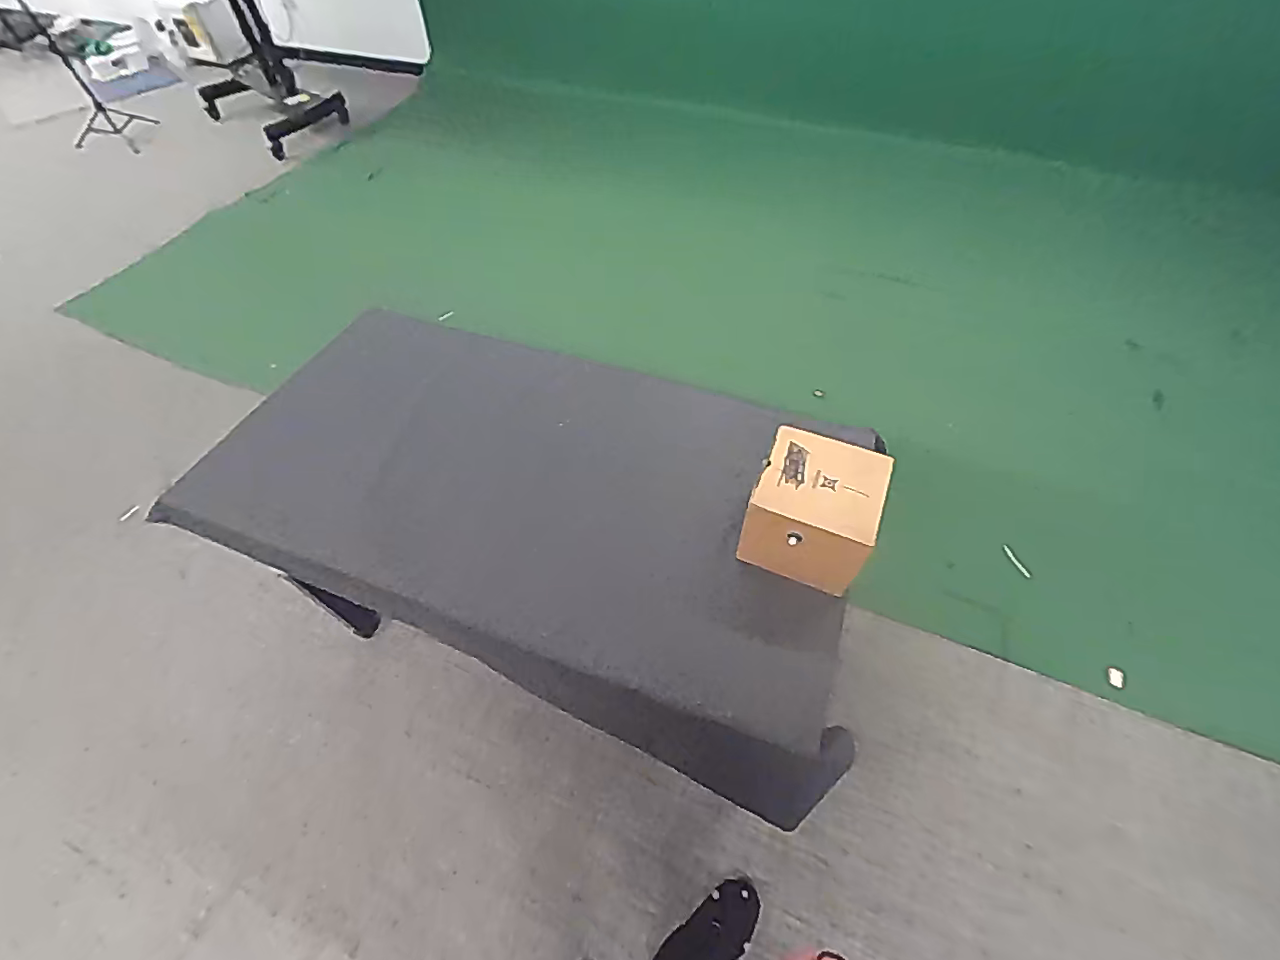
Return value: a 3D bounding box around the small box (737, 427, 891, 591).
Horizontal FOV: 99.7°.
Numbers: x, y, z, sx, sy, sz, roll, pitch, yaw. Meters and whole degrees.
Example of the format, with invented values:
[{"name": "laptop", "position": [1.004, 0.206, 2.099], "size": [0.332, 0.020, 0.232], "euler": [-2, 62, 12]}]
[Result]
[{"name": "small box", "position": [0.265, 0.050, 0.851], "size": [0.179, 0.176, 0.168], "euler": [20, 56, 13]}]
